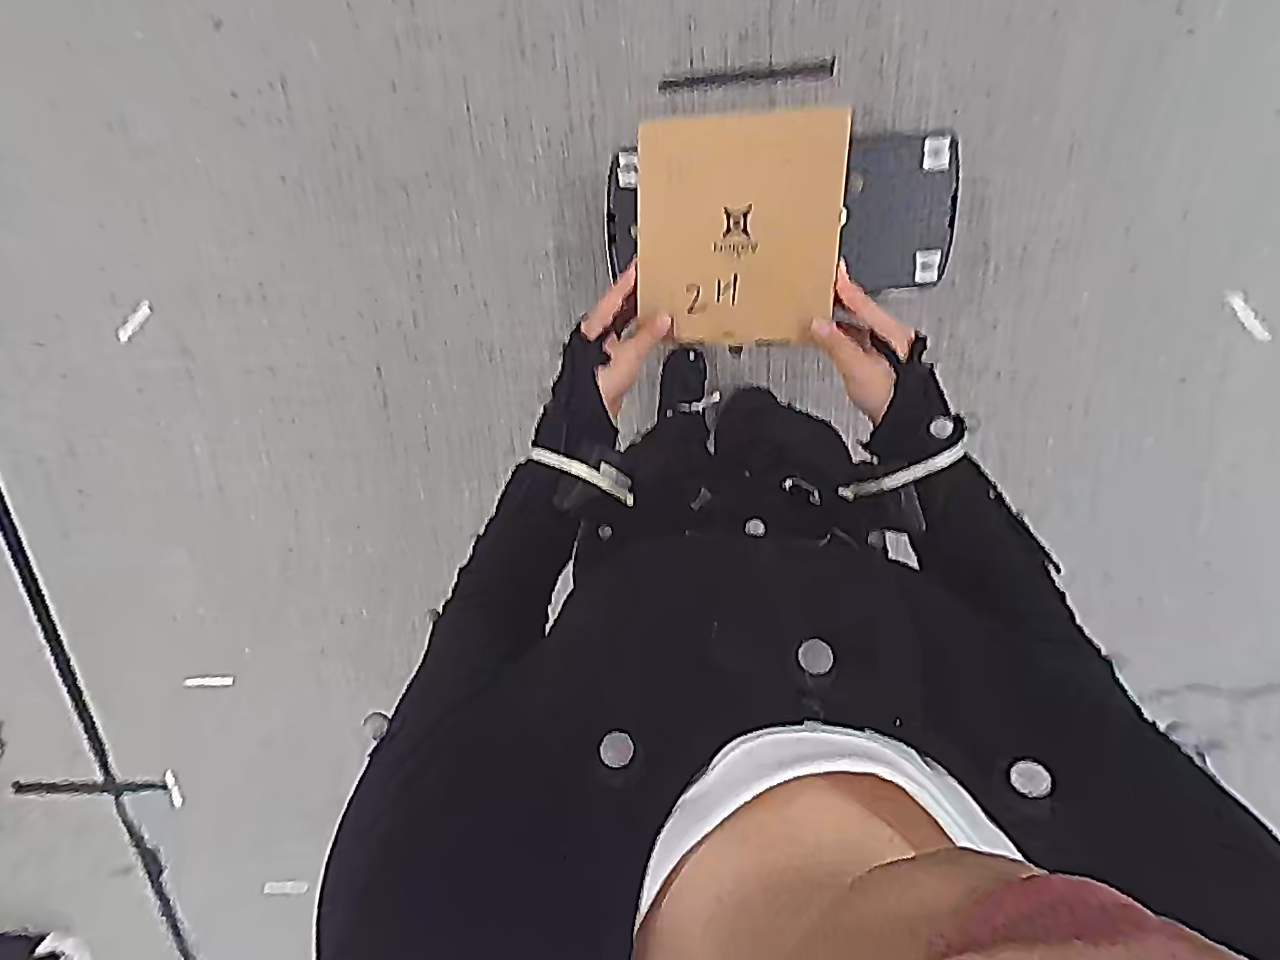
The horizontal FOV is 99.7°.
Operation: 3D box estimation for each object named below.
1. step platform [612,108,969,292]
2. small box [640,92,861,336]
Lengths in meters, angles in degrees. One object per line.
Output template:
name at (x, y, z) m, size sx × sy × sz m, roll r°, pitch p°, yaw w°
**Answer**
step platform at (0.284, -0.552, 1.104) m, size 0.684 × 0.204 × 0.286 m, roll -2°, pitch 106°, yaw 3°
small box at (0.099, -0.230, 0.511) m, size 0.168 × 0.176 × 0.179 m, roll 4°, pitch 108°, yaw 13°
